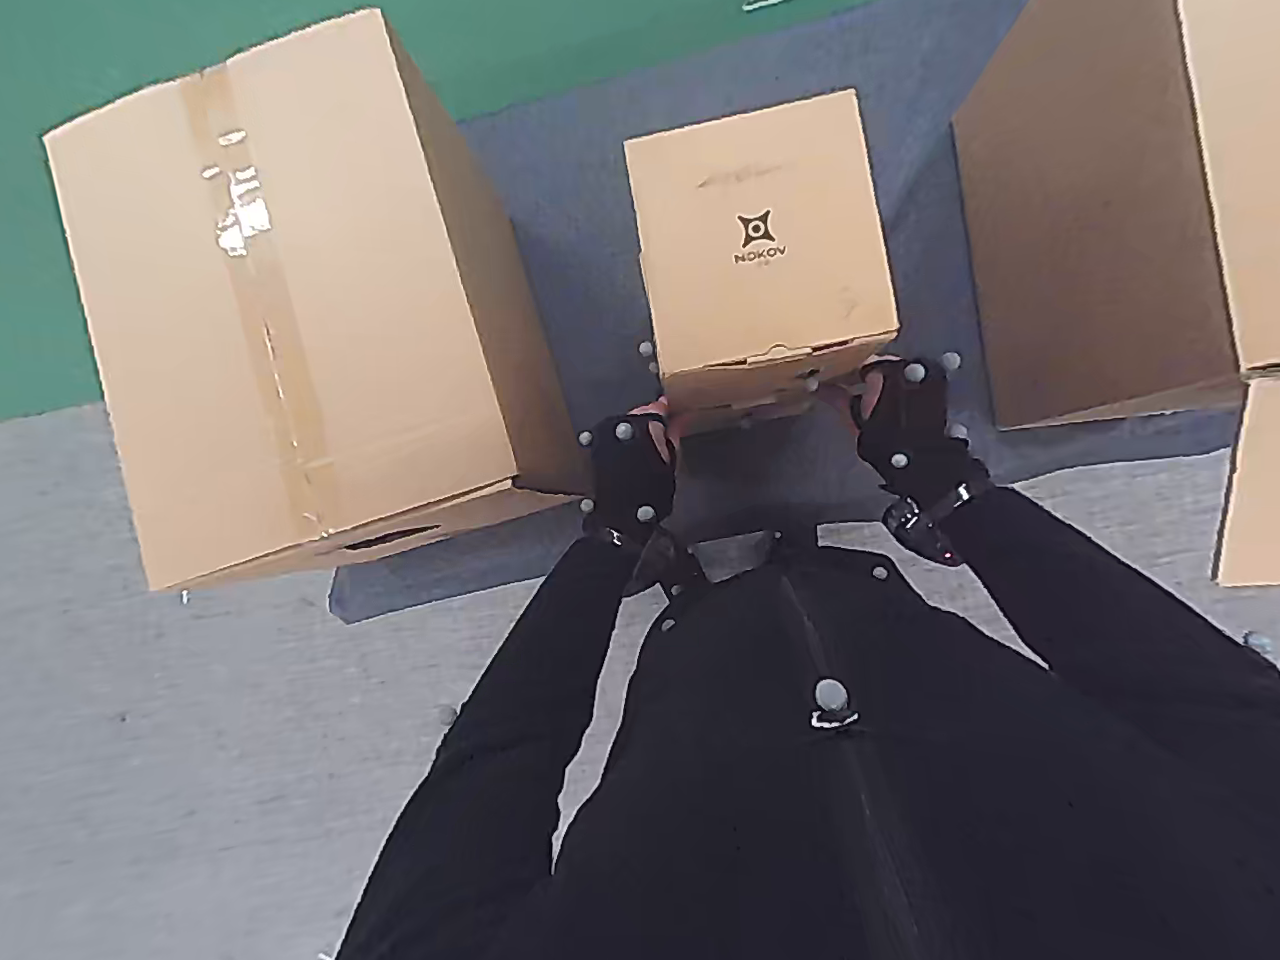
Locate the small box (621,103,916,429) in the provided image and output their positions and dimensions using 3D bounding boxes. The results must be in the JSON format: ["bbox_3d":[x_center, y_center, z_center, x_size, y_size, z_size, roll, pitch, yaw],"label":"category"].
[{"bbox_3d":[0.088,-0.141,0.429,0.168,0.176,0.179,-11,86,4],"label":"small box"}]
